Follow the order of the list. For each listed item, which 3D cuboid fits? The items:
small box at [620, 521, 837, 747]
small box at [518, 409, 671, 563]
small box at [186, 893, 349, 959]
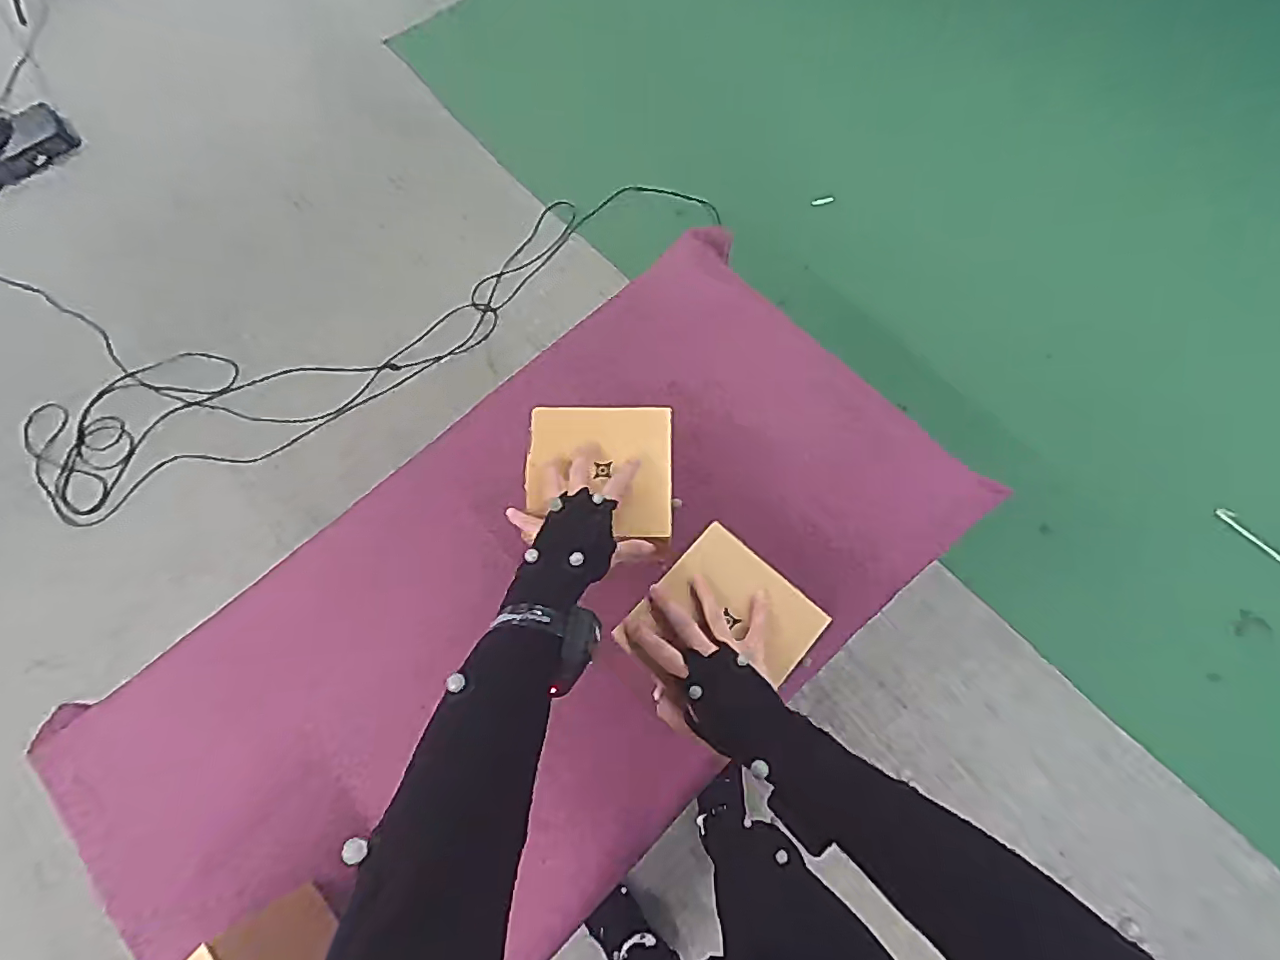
[{"bbox_3d":[0.096,0.181,0.647,0.168,0.176,0.179,42,78,16],"label":"small box"},{"bbox_3d":[-0.048,0.015,0.714,0.179,0.176,0.168,0,73,4],"label":"small box"},{"bbox_3d":[-0.408,0.579,0.549,0.179,0.176,0.168,42,78,17],"label":"small box"}]
